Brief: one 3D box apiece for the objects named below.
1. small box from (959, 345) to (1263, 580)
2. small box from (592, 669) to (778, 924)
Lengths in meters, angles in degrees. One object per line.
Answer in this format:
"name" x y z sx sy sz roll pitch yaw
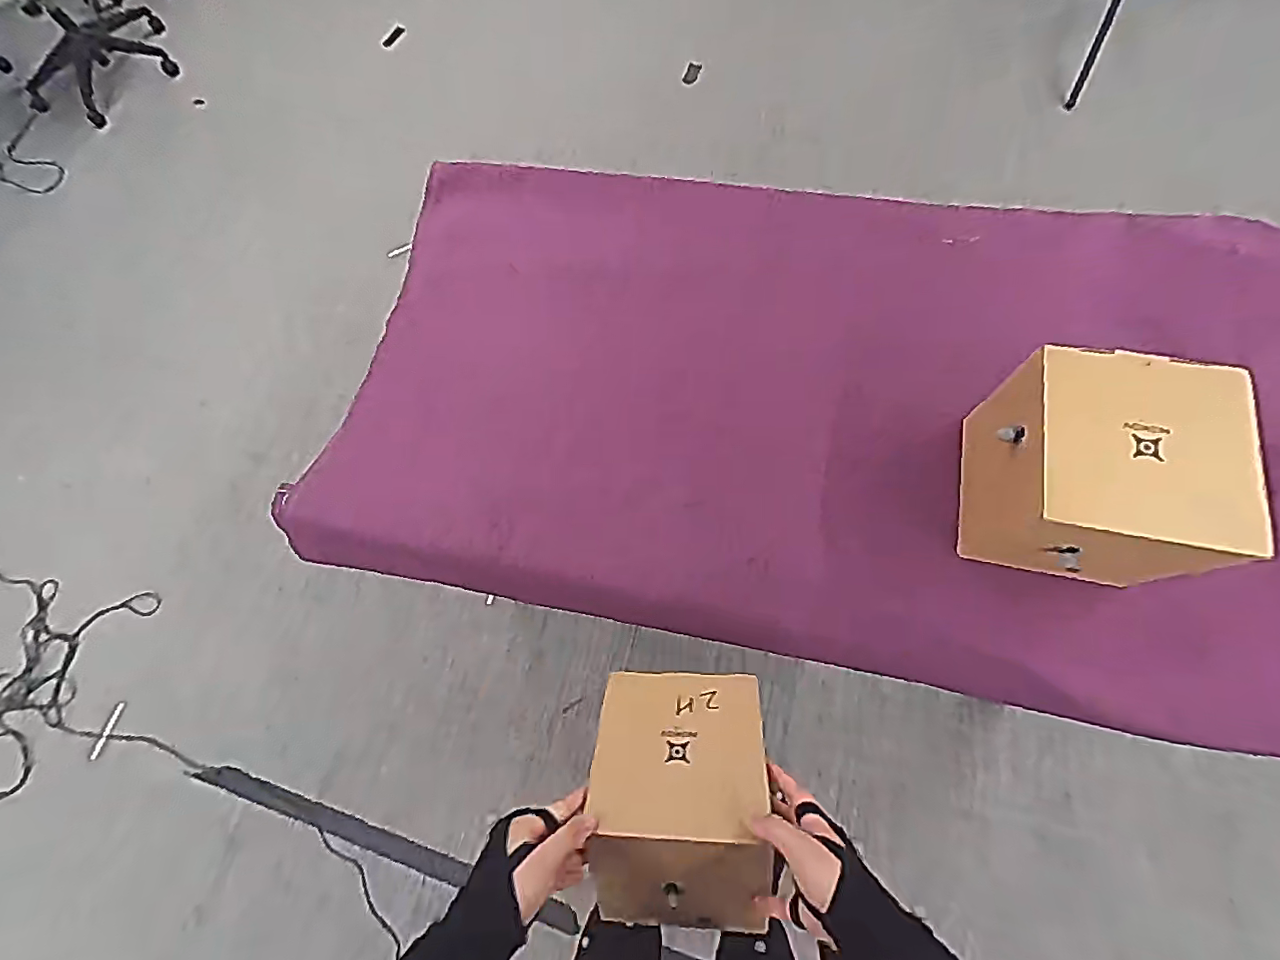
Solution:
"small box" 0.445 -0.007 0.543 0.168 0.176 0.179 10 72 10
"small box" 0.053 0.330 0.574 0.168 0.176 0.179 0 29 7
